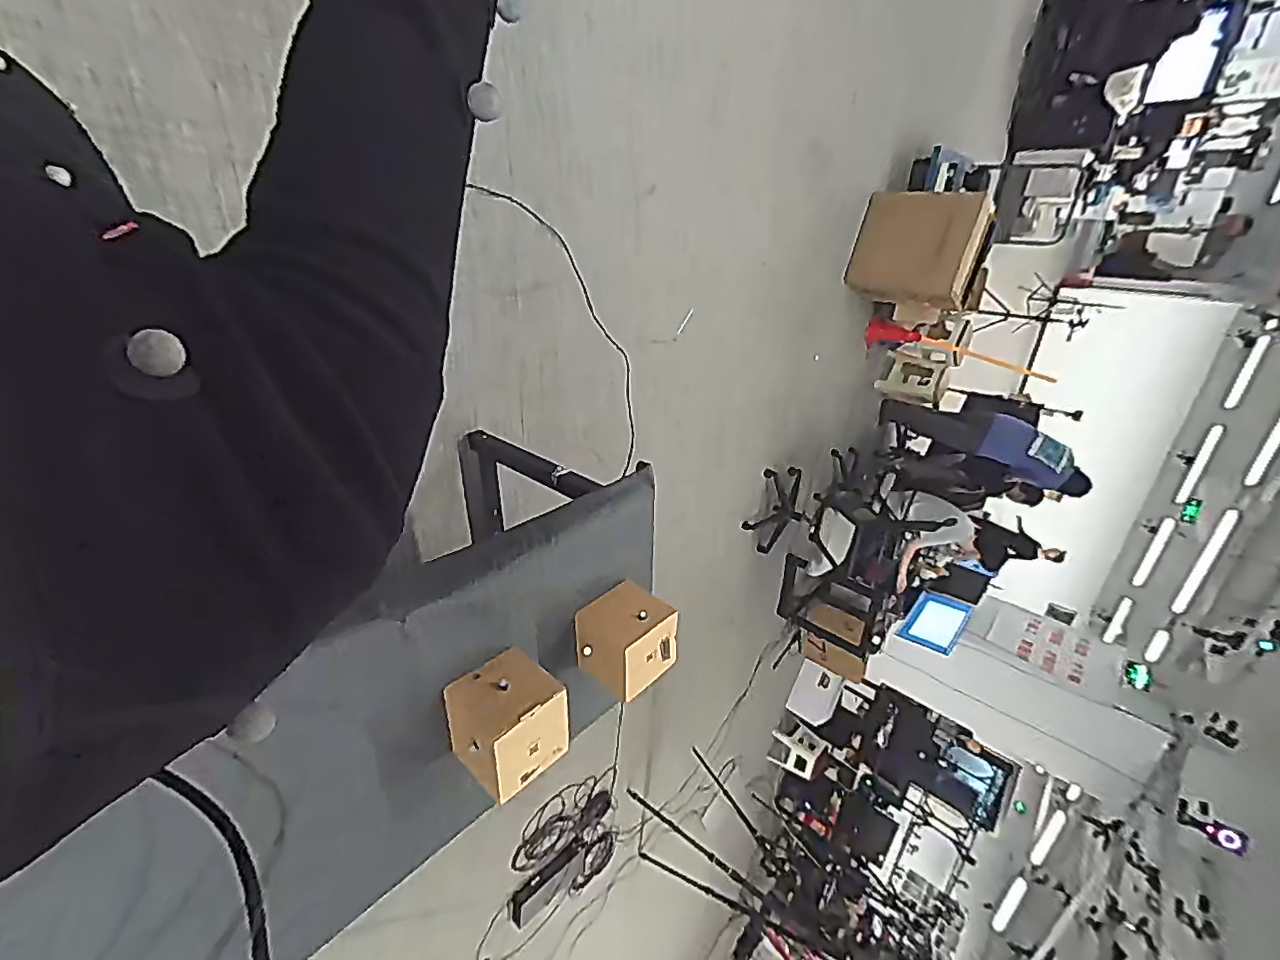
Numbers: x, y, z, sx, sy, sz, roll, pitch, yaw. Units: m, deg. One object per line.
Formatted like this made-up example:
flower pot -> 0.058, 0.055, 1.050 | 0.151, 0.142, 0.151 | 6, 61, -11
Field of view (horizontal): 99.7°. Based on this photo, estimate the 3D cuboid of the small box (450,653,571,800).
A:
small box -> -0.254, 0.467, 1.061 | 0.168, 0.176, 0.179 | -24, 126, -42

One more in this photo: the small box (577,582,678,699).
small box -> -0.029, 0.370, 1.285 | 0.179, 0.176, 0.168 | -26, 127, -40
